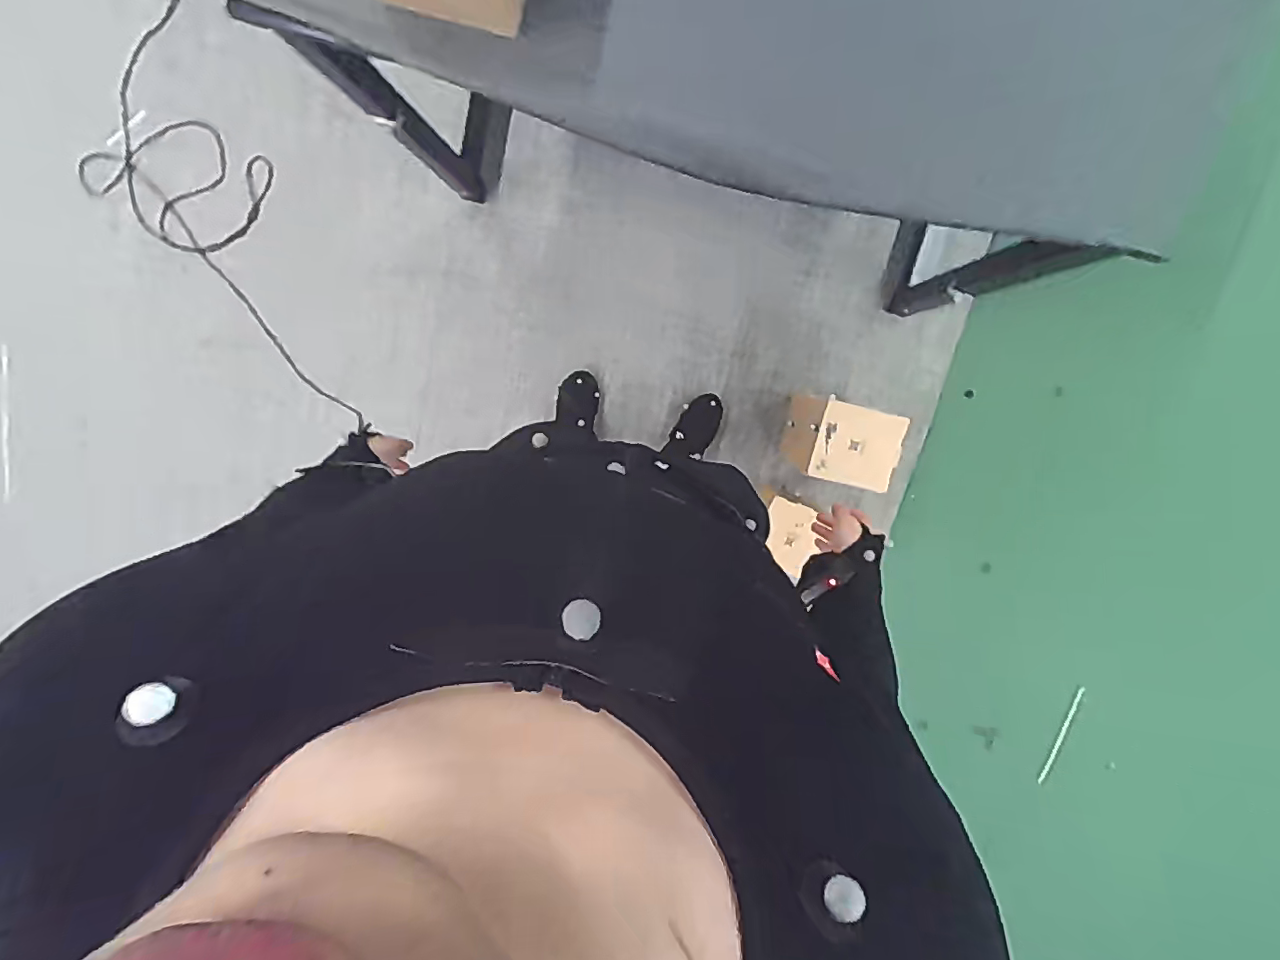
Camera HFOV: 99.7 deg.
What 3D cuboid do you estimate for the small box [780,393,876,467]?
[{"bbox_3d":[0.461,-0.115,1.358,0.168,0.176,0.179,13,100,1],"label":"small box"}]

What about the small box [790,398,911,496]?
[{"bbox_3d":[0.455,-0.081,1.196,0.179,0.176,0.168,16,102,0],"label":"small box"}]

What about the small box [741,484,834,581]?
[{"bbox_3d":[0.374,0.130,1.407,0.168,0.176,0.179,23,101,-1],"label":"small box"}]
